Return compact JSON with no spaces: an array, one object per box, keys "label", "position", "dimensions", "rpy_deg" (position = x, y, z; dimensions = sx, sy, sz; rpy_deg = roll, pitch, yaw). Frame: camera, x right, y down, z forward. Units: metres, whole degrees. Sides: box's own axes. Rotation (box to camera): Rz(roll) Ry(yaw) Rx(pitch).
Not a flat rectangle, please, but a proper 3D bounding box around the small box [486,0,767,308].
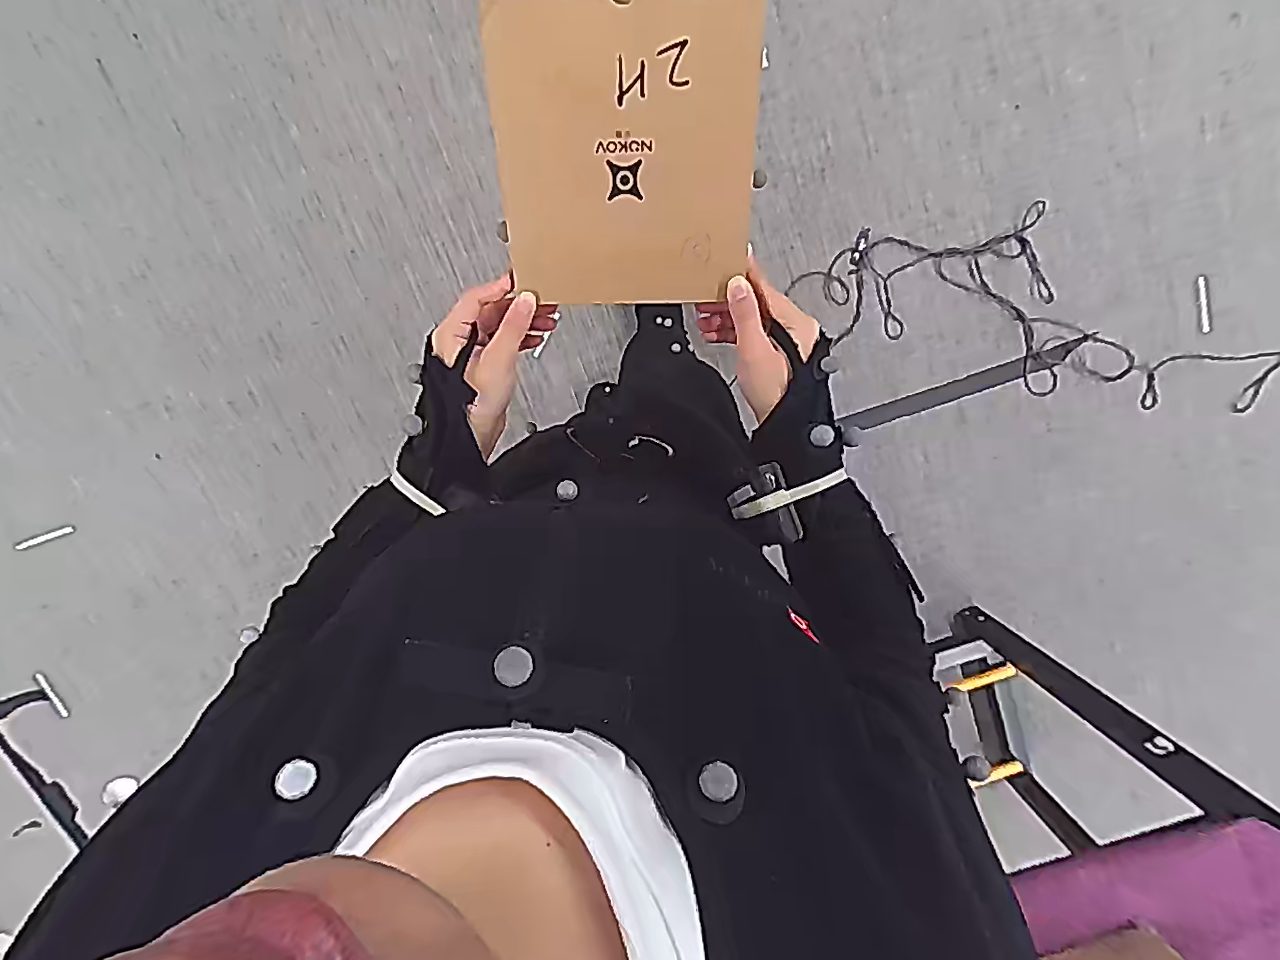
[{"label":"small box","position":[-0.005,-0.243,0.420],"dimensions":[0.168,0.176,0.179],"rpy_deg":[0,121,1]}]
